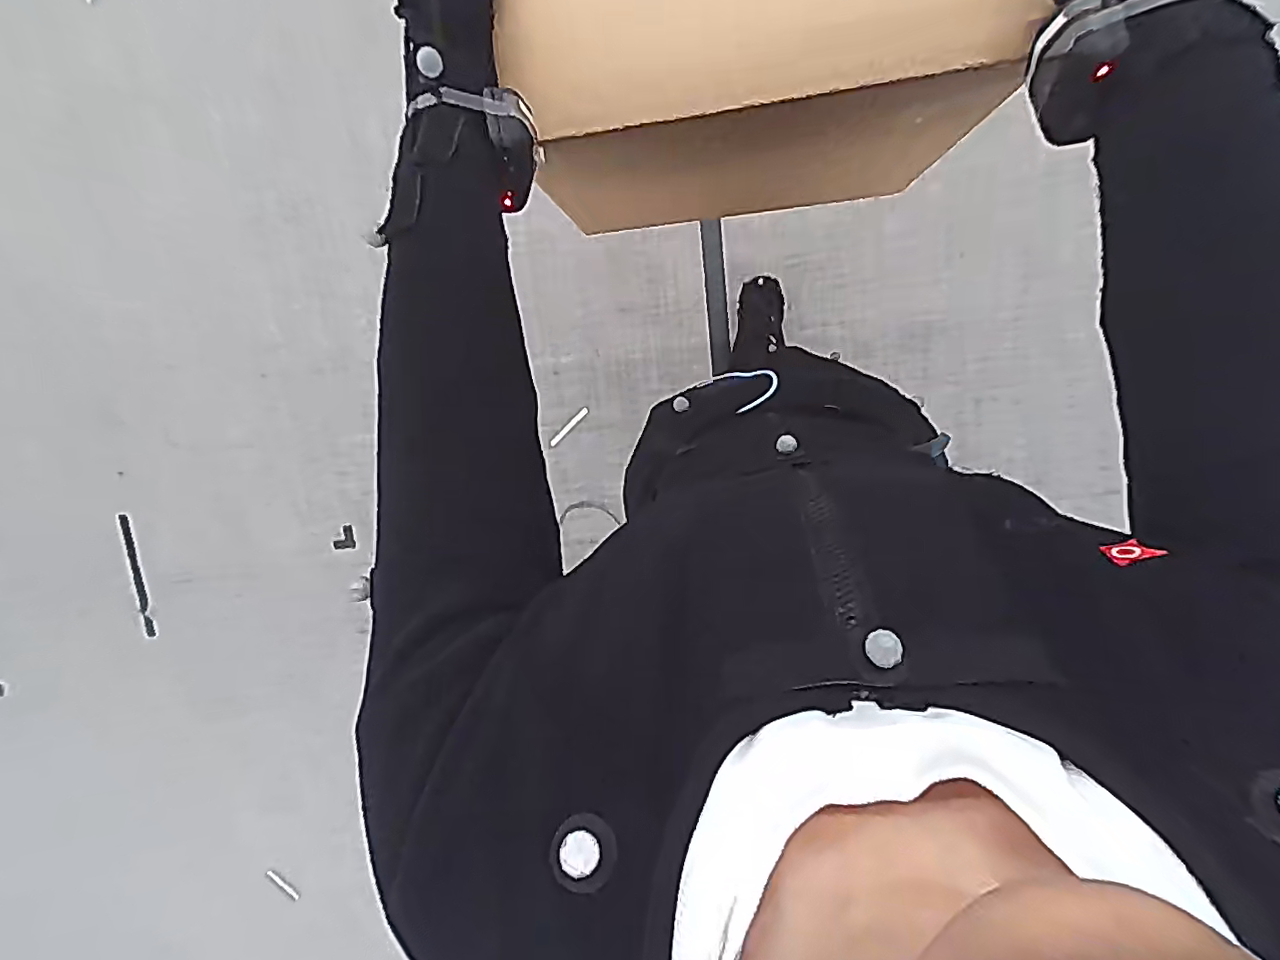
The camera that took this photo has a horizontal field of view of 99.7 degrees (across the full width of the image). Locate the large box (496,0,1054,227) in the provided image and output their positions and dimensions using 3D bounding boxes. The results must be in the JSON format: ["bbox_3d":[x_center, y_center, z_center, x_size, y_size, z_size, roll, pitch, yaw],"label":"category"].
[{"bbox_3d":[0.091,-0.472,0.521,0.408,0.320,0.320,-5,102,7],"label":"large box"}]
